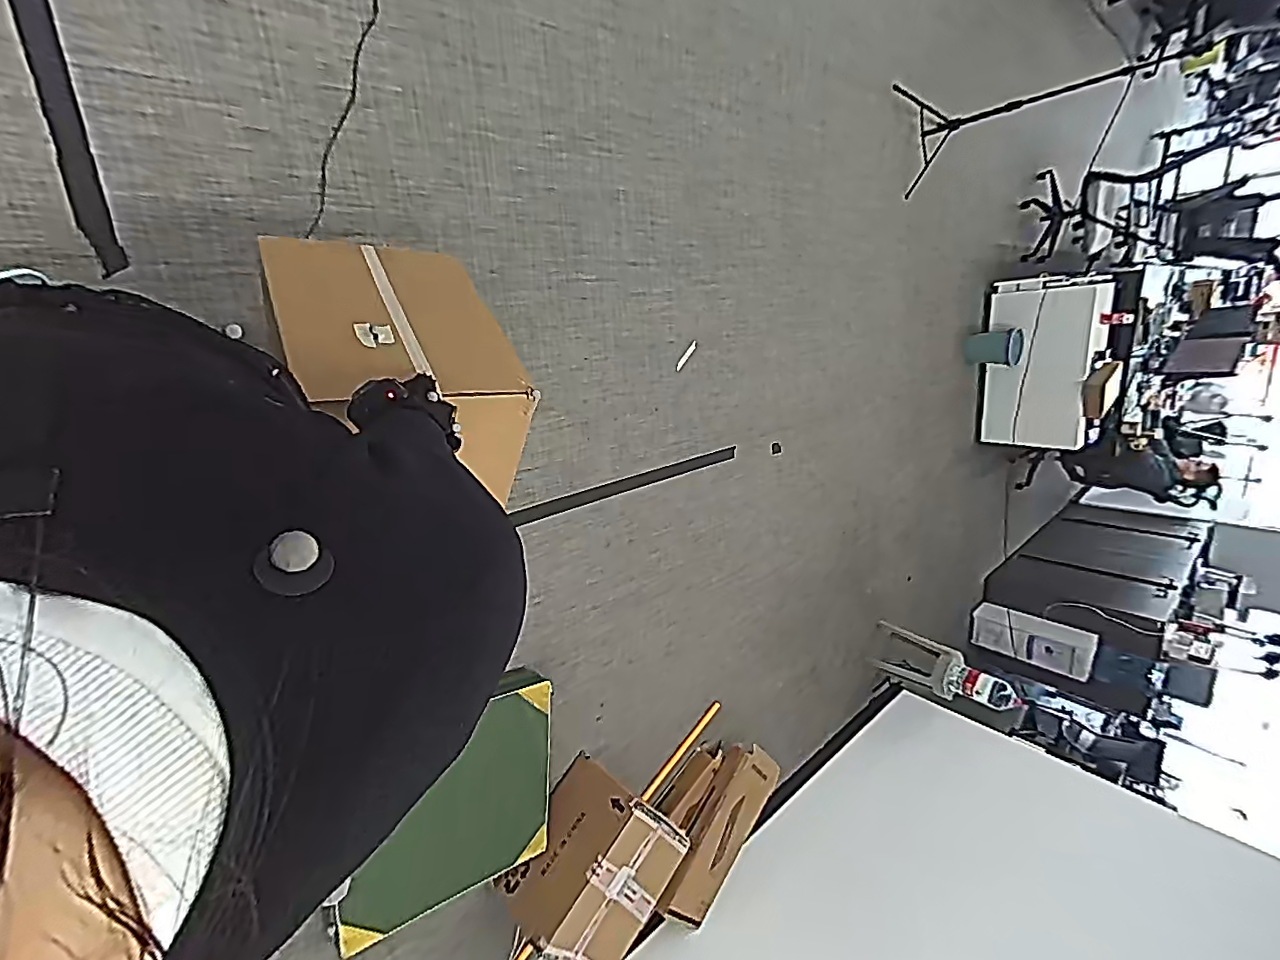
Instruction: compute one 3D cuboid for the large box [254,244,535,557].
[{"bbox_3d":[-0.433,-0.141,0.924,0.320,0.408,0.320,-10,143,-36],"label":"large box"}]
